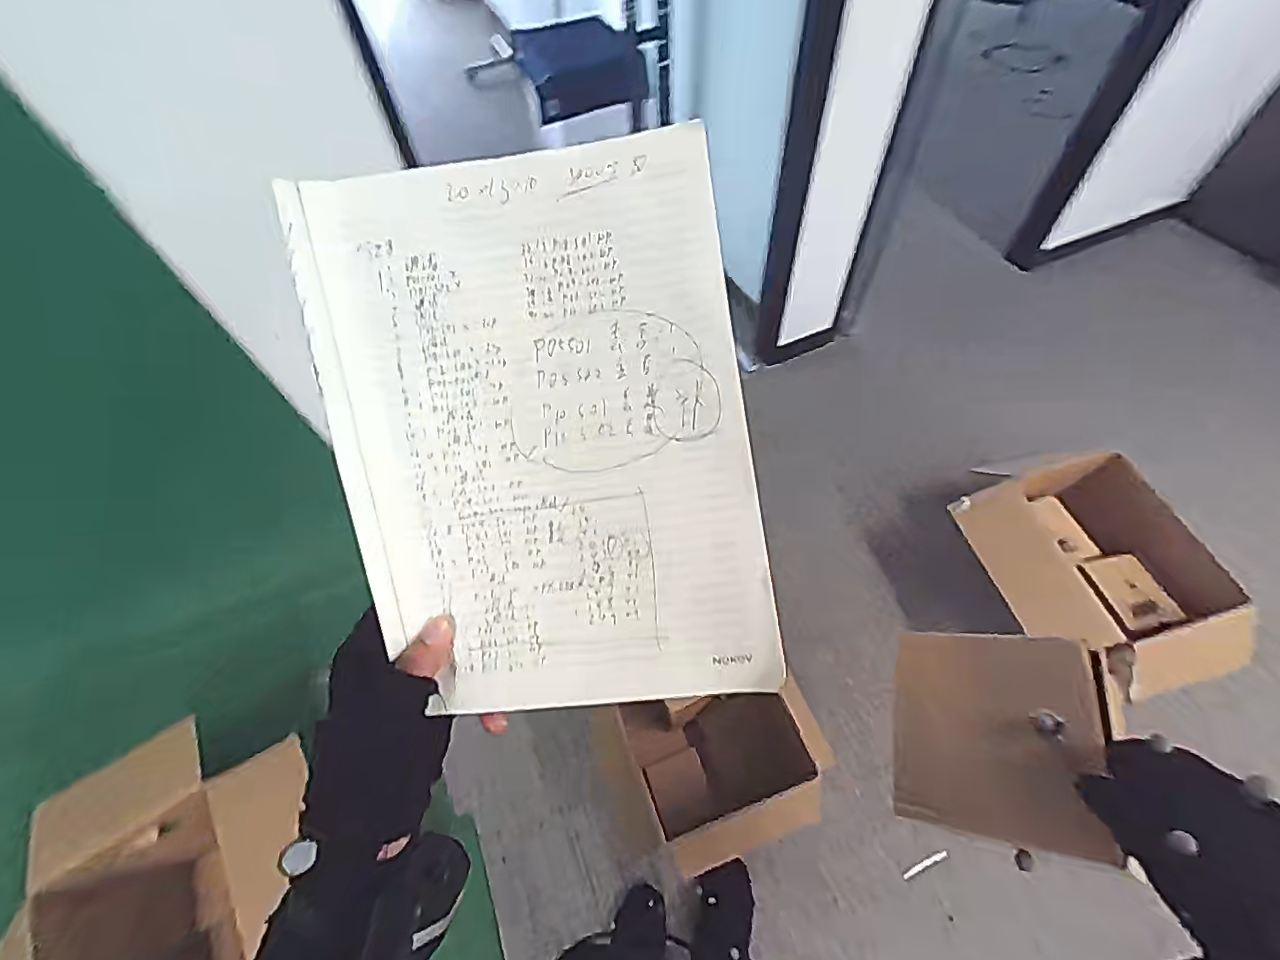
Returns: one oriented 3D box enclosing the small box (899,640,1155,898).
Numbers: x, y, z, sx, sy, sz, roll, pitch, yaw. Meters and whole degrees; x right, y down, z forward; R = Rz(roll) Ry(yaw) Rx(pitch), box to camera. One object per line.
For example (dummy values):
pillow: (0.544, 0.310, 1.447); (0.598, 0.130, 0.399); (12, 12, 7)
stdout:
small box: (0.366, 0.269, 0.529); (0.176, 0.168, 0.179); (-12, 50, 41)
